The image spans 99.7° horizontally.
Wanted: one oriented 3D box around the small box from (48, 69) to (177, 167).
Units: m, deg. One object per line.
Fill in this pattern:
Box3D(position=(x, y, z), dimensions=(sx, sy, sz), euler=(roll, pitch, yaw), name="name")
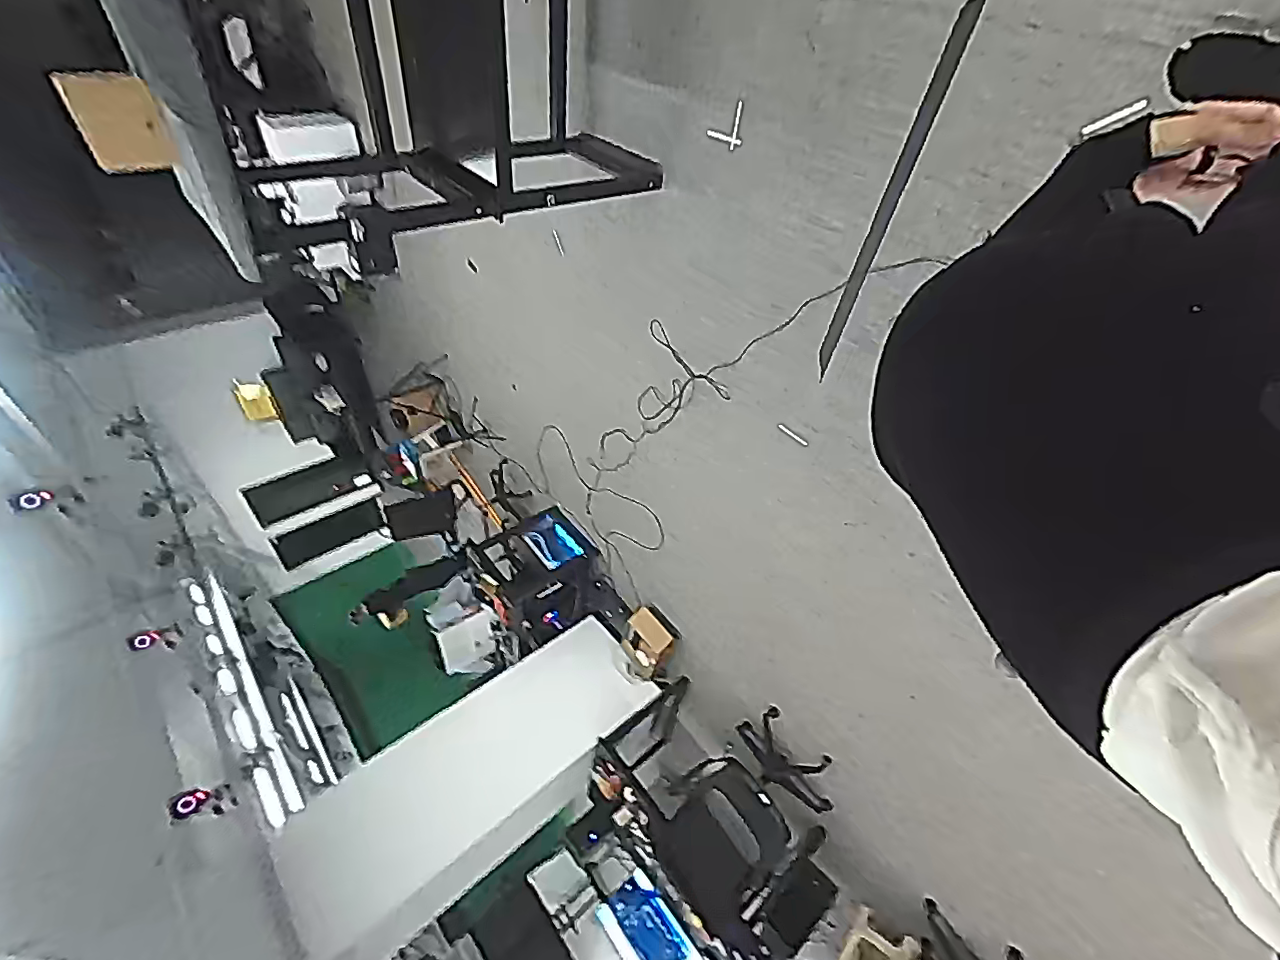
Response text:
Box3D(position=(-1.327, -0.917, 1.368), dimensions=(0.168, 0.176, 0.179), euler=(40, 142, 31), name="small box")
